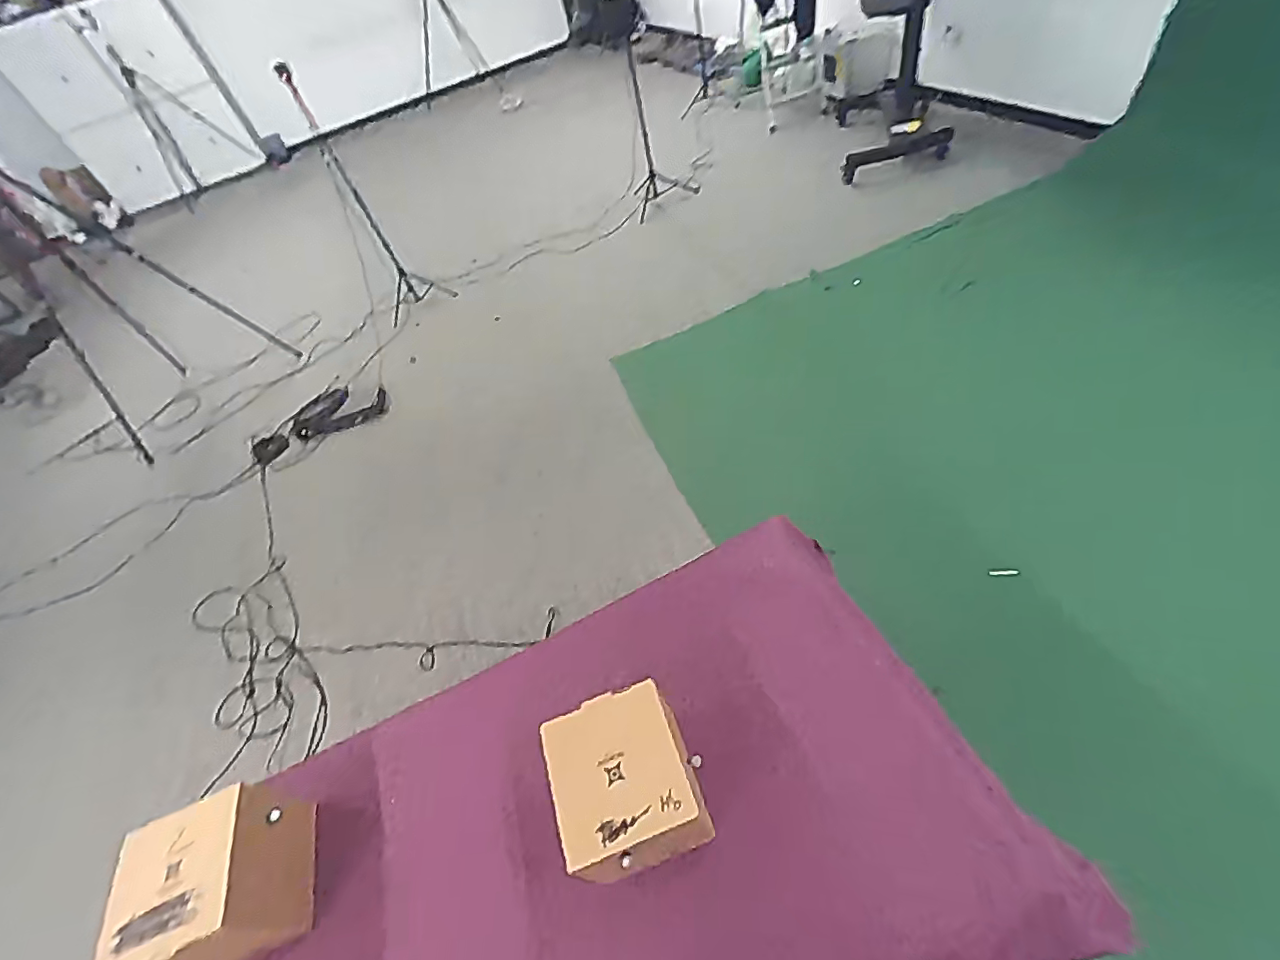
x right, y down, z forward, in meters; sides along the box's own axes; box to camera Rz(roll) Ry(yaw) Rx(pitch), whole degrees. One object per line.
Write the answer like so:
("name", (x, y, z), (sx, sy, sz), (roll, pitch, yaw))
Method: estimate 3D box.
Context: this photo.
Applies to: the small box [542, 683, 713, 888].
("small box", (-0.015, 0.412, 0.728), (0.168, 0.176, 0.179), (-22, 47, -3))
